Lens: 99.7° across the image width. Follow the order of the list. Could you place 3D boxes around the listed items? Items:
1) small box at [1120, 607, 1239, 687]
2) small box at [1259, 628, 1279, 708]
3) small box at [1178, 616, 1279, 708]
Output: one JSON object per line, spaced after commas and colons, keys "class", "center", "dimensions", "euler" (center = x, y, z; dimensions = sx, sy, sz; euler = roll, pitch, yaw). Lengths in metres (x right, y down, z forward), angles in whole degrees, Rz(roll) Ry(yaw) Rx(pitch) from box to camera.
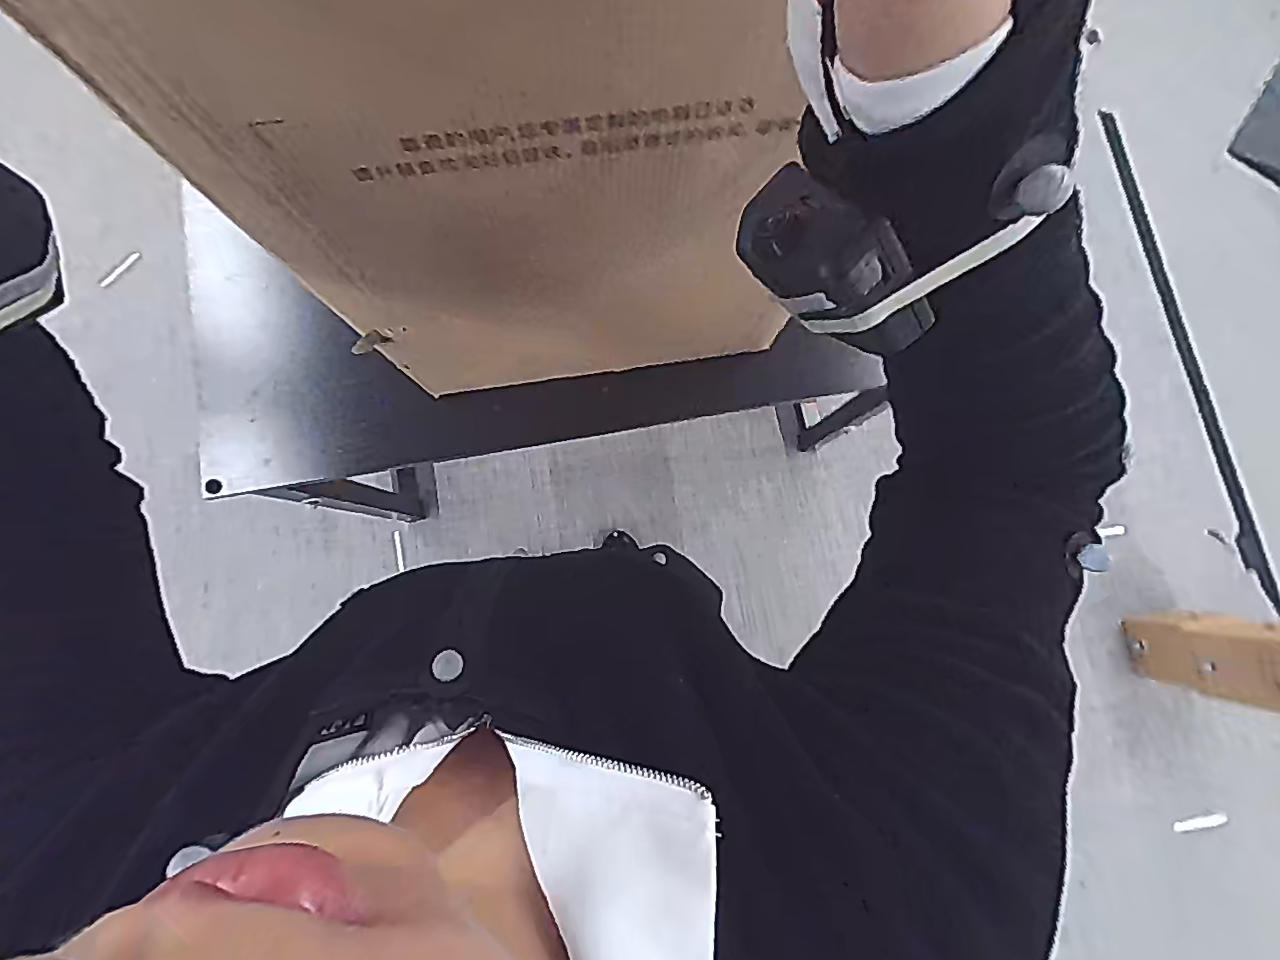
{"class": "small box", "center": [1.466, 0.441, 1.456], "dimensions": [0.179, 0.176, 0.168], "euler": [-10, 81, -2]}
{"class": "small box", "center": [1.469, 0.401, 1.129], "dimensions": [0.179, 0.176, 0.168], "euler": [-8, 82, -3]}
{"class": "small box", "center": [1.465, 0.426, 1.291], "dimensions": [0.179, 0.176, 0.168], "euler": [-9, 81, -4]}
